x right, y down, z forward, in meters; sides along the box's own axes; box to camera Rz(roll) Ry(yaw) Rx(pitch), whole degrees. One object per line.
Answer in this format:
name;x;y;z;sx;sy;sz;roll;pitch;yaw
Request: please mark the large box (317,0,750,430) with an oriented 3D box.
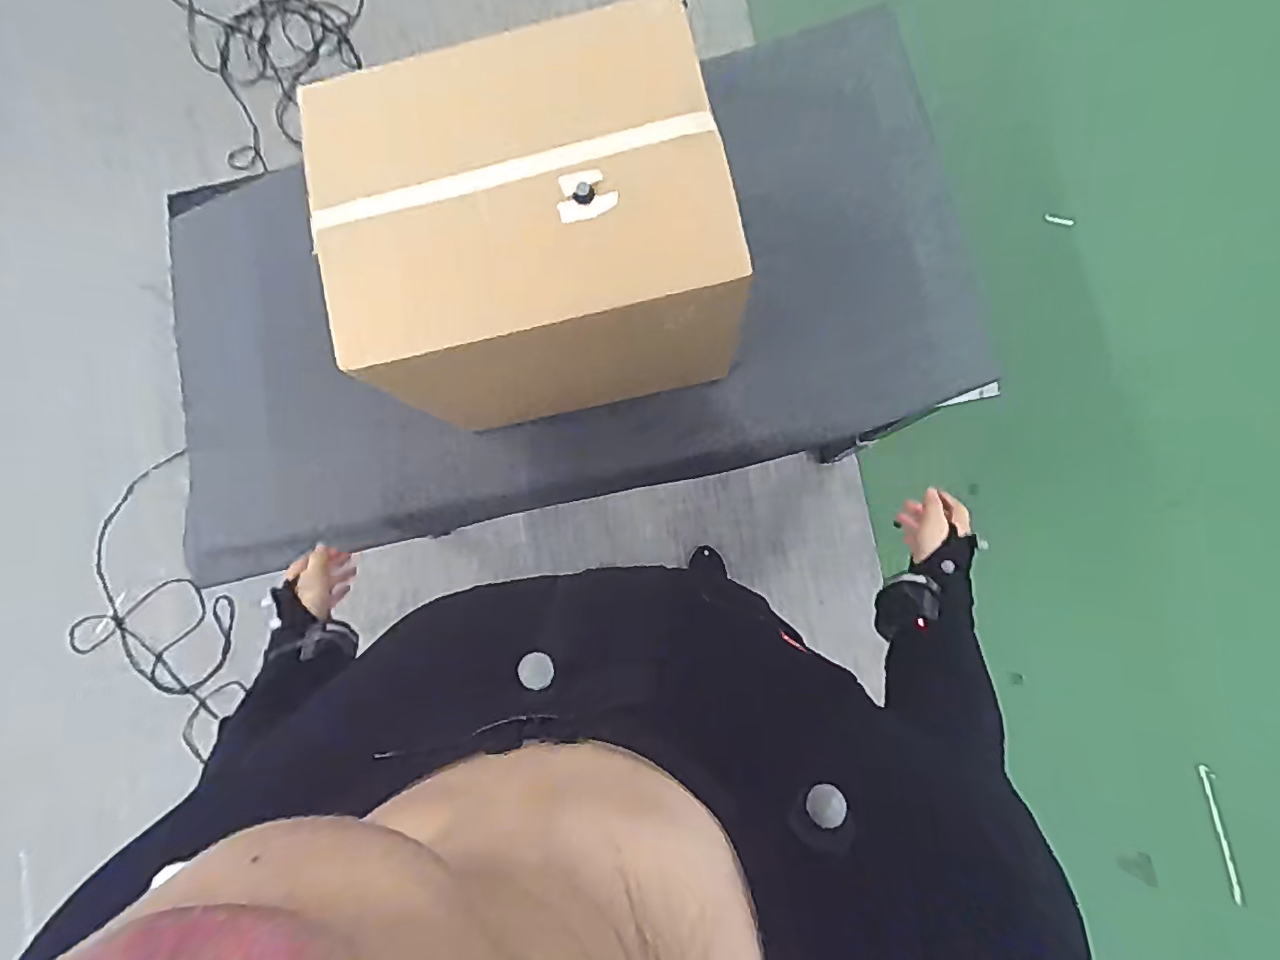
large box;-0.109;-0.283;0.689;0.408;0.320;0.320;-13;83;2
